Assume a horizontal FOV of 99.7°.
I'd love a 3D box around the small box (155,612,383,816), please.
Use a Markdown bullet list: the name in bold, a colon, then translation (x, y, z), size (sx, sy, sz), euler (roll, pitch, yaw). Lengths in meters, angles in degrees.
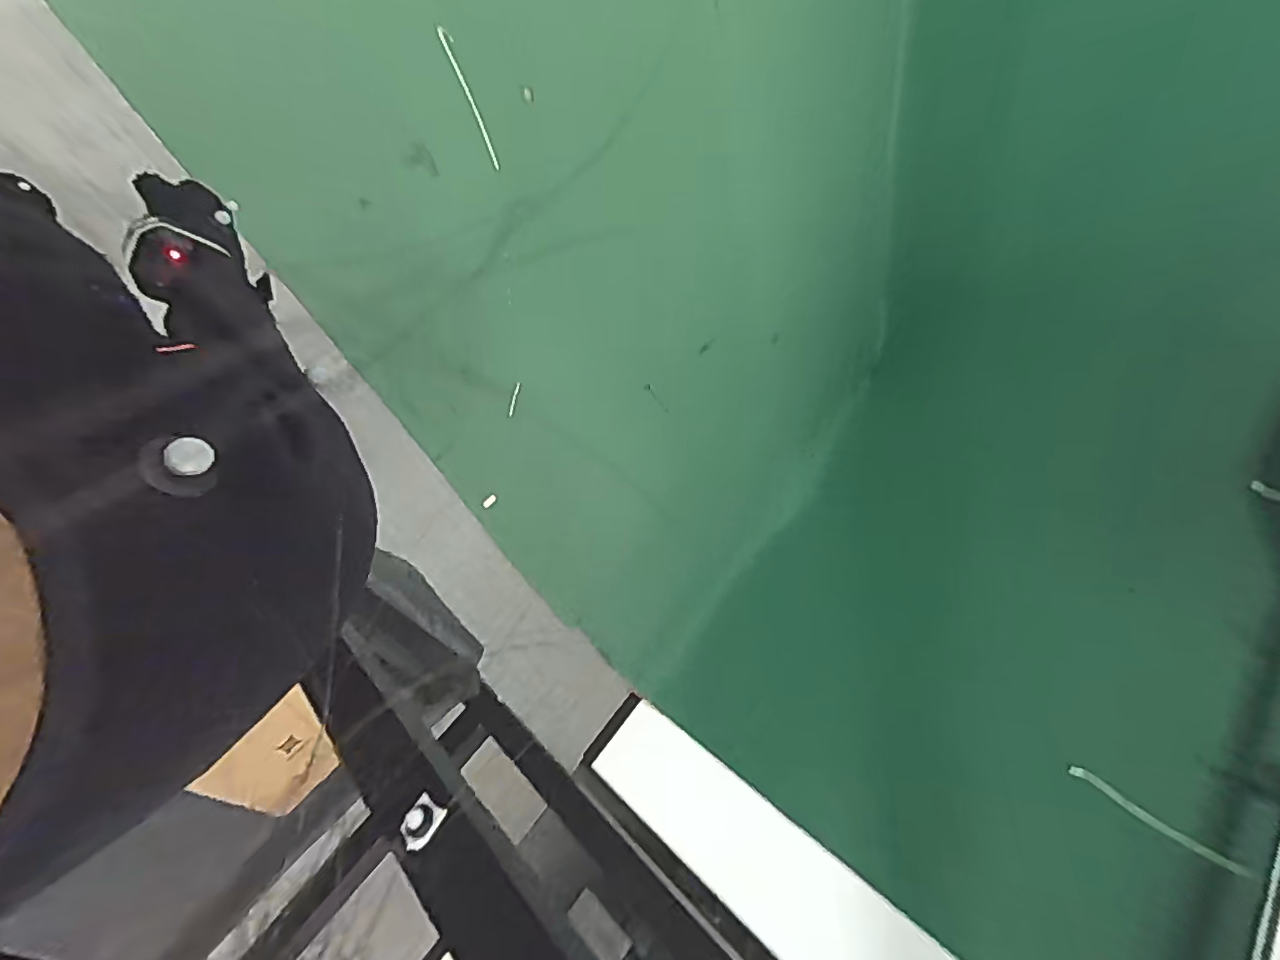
- **small box**: translation (-0.499, 0.307, 0.733), size (0.168, 0.176, 0.179), euler (-44, 141, -22)
